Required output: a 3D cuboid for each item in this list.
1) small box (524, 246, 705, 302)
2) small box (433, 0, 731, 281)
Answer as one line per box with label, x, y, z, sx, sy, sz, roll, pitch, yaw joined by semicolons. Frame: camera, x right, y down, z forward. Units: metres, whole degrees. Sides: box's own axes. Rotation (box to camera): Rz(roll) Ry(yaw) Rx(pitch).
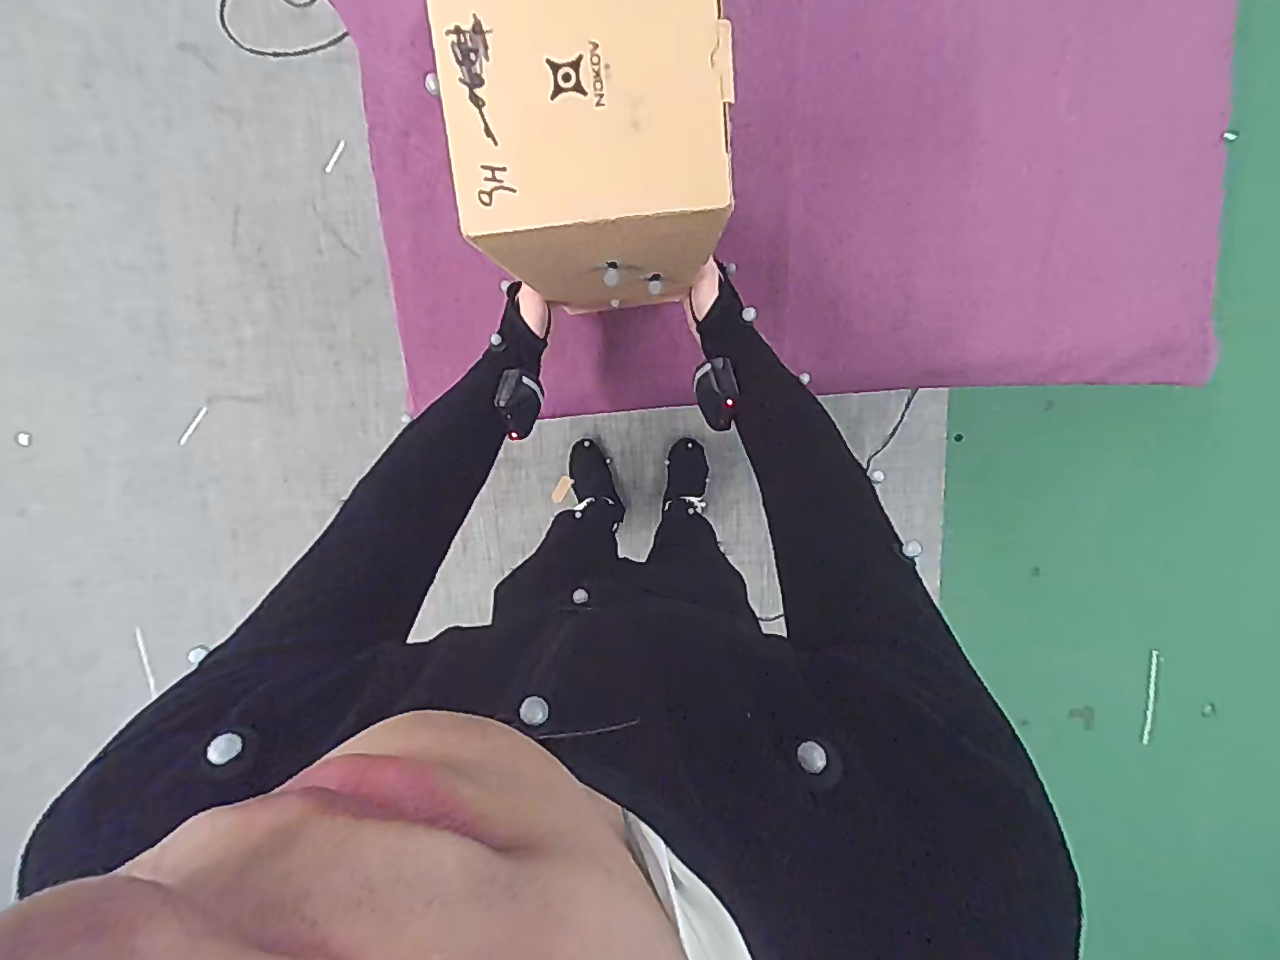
small box;-0.030;-0.290;0.574;0.179;0.176;0.168;-4;100;3
small box;-0.034;-0.258;0.413;0.179;0.176;0.168;-5;99;2
